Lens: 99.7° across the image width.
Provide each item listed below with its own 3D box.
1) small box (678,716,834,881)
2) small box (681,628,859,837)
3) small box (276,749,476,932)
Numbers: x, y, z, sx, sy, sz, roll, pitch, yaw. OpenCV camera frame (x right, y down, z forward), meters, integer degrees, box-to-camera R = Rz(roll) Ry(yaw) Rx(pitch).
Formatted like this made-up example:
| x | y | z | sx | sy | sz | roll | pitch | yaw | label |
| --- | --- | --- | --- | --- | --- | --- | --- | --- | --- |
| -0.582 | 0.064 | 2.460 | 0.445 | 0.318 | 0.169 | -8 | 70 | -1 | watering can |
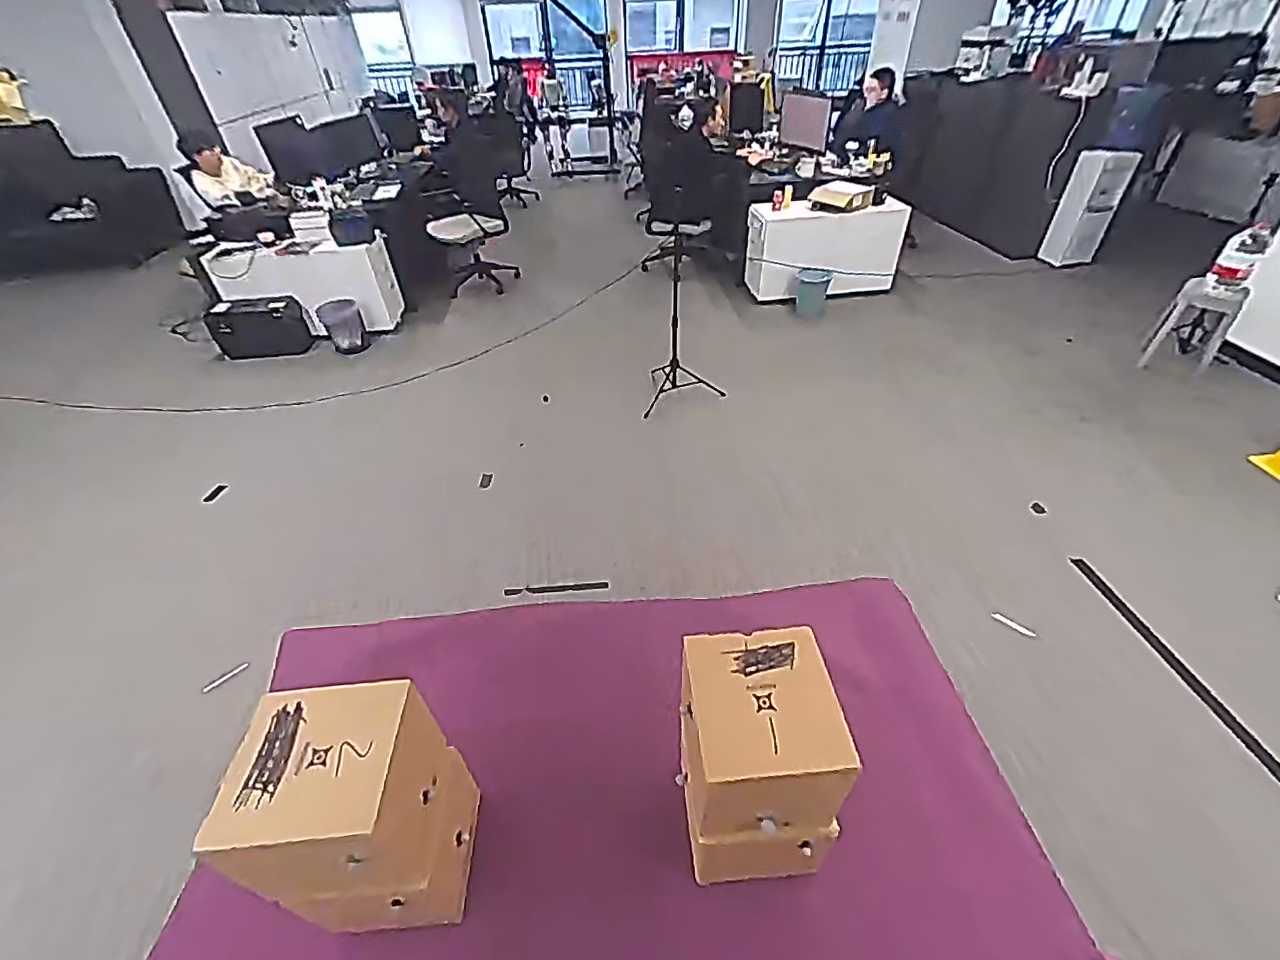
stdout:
| x | y | z | sx | sy | sz | roll | pitch | yaw | label |
| --- | --- | --- | --- | --- | --- | --- | --- | --- | --- |
| 0.150 | 0.442 | 0.764 | 0.179 | 0.176 | 0.168 | -4 | 40 | -2 | small box |
| 0.142 | 0.309 | 0.668 | 0.168 | 0.176 | 0.179 | -4 | 41 | -2 | small box |
| -0.335 | 0.489 | 0.734 | 0.179 | 0.176 | 0.168 | -4 | 40 | -2 | small box |
